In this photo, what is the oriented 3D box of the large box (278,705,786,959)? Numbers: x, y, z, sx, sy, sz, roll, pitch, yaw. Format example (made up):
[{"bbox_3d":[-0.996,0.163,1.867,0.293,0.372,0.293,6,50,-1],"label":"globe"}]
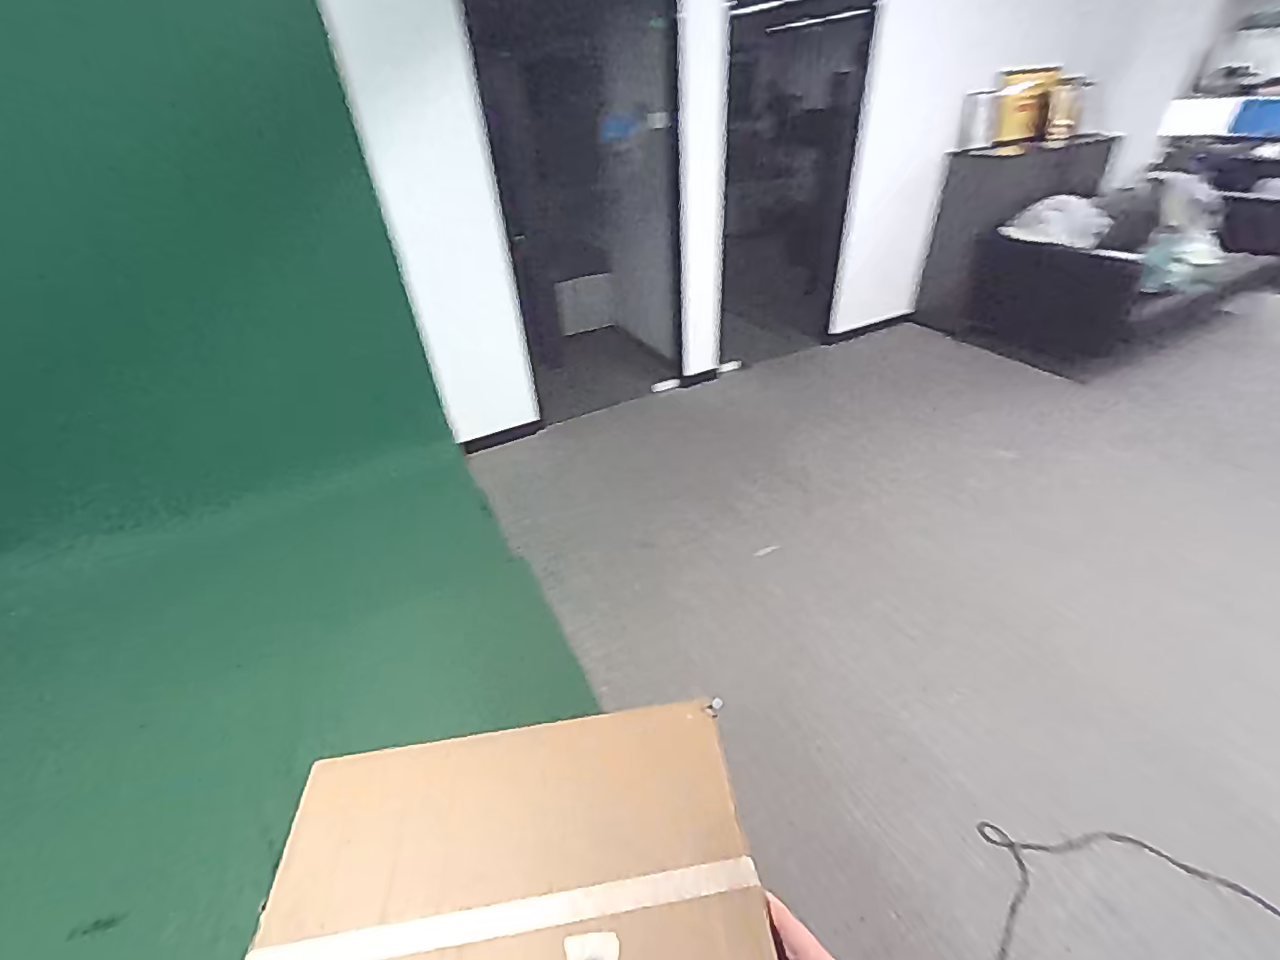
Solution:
[{"bbox_3d":[-0.086,0.472,0.535,0.408,0.320,0.320,-6,40,-4],"label":"large box"}]
